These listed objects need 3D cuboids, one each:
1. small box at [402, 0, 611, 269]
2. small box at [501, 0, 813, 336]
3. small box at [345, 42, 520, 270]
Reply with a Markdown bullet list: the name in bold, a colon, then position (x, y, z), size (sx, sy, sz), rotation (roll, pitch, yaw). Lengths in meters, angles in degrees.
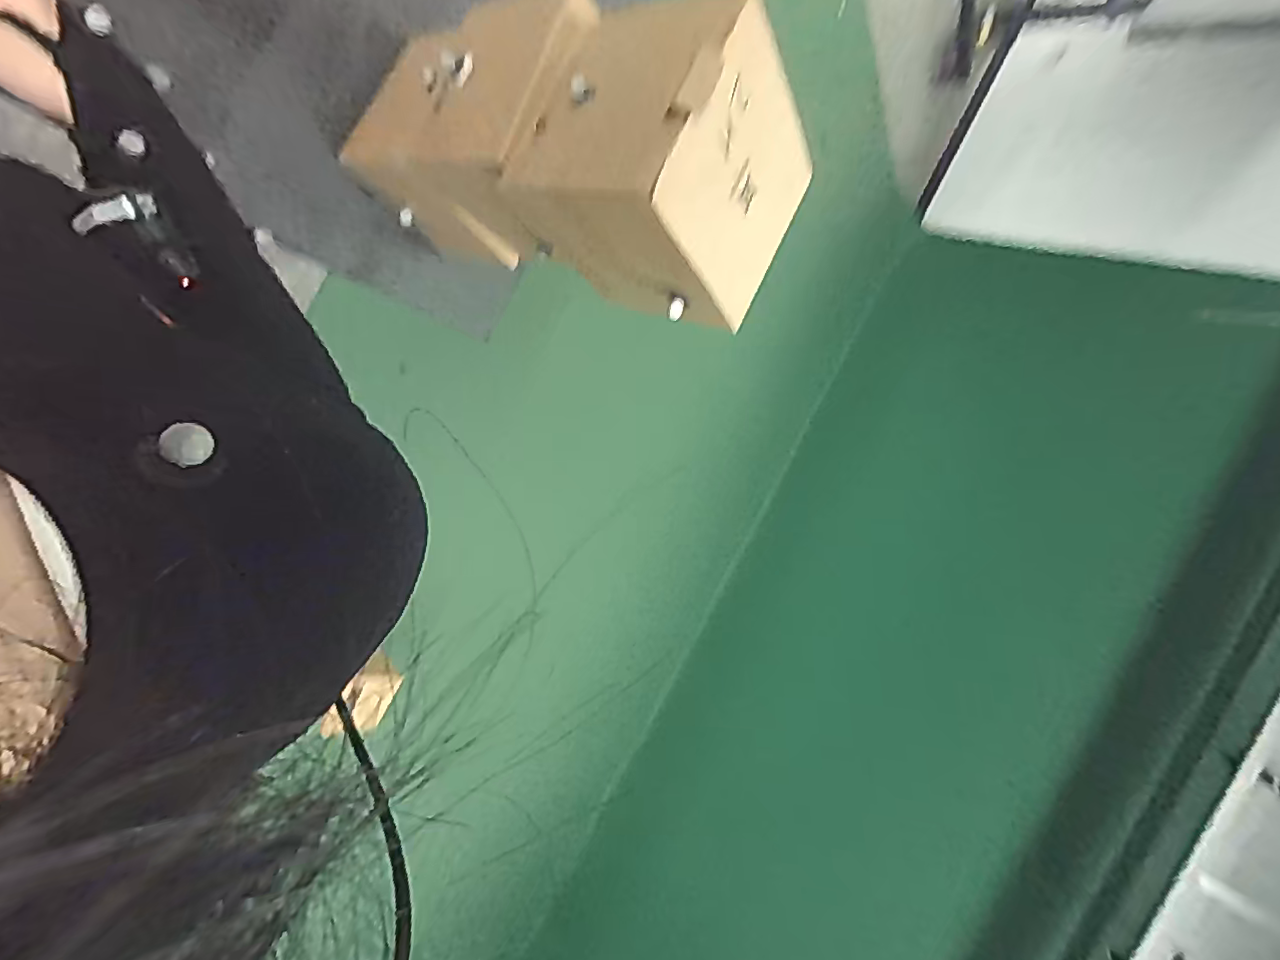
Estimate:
- **small box**: position (-0.100, -0.333, 0.549), size (0.179, 0.176, 0.168), rotation (23, 91, -54)
- **small box**: position (0.020, -0.253, 0.465), size (0.179, 0.176, 0.168), rotation (32, 83, -55)
- **small box**: position (-0.215, -0.388, 0.651), size (0.179, 0.176, 0.168), rotation (-60, 144, -5)
